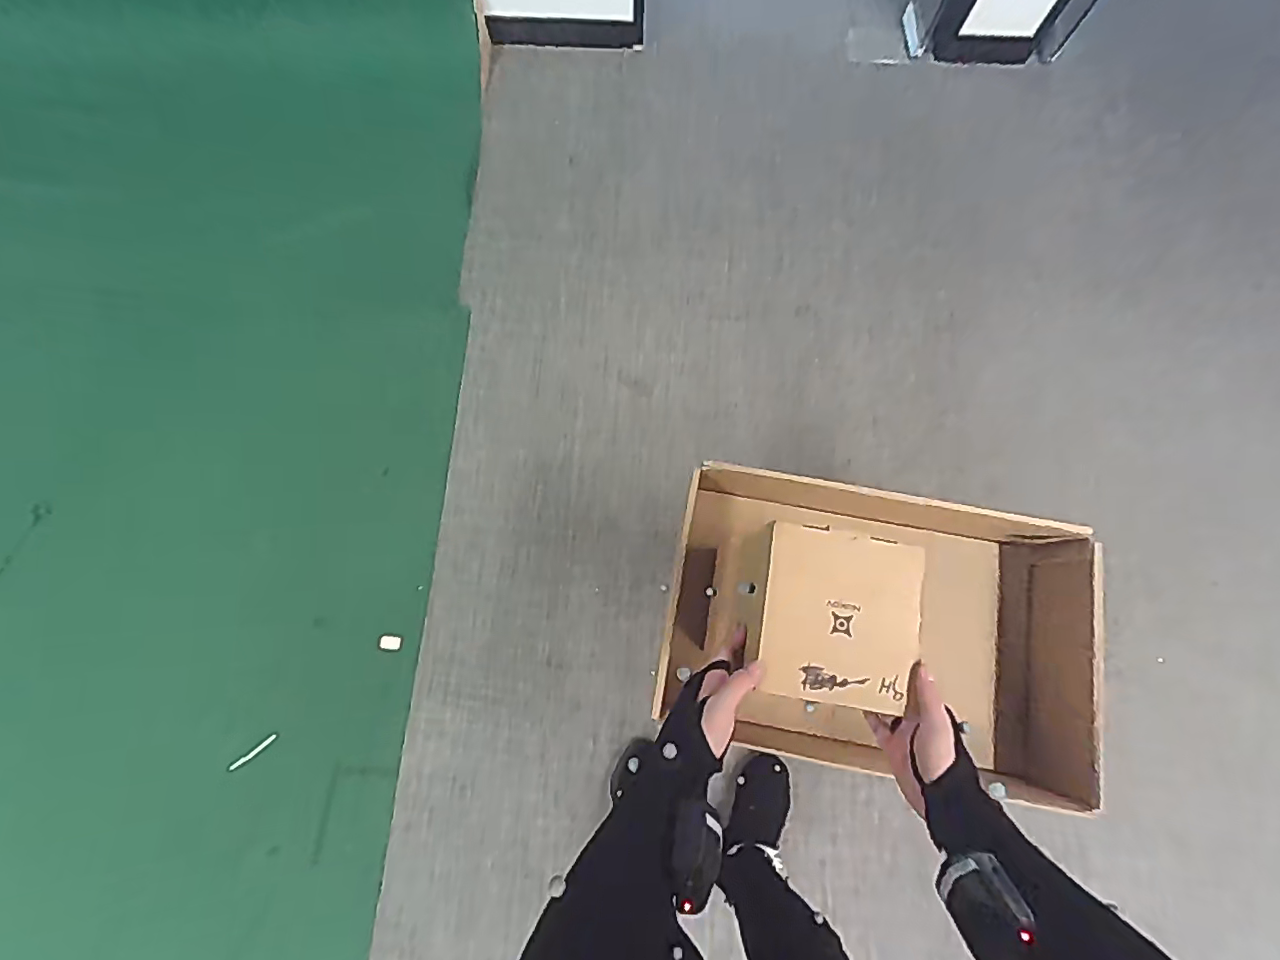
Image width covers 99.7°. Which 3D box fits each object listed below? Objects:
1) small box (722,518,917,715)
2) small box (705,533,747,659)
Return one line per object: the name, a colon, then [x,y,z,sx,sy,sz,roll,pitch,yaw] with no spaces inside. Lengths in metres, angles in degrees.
small box: [0.198,0.155,0.635,0.168,0.176,0.179,10,77,1]
small box: [0.197,0.190,0.837,0.168,0.176,0.179,9,78,3]
